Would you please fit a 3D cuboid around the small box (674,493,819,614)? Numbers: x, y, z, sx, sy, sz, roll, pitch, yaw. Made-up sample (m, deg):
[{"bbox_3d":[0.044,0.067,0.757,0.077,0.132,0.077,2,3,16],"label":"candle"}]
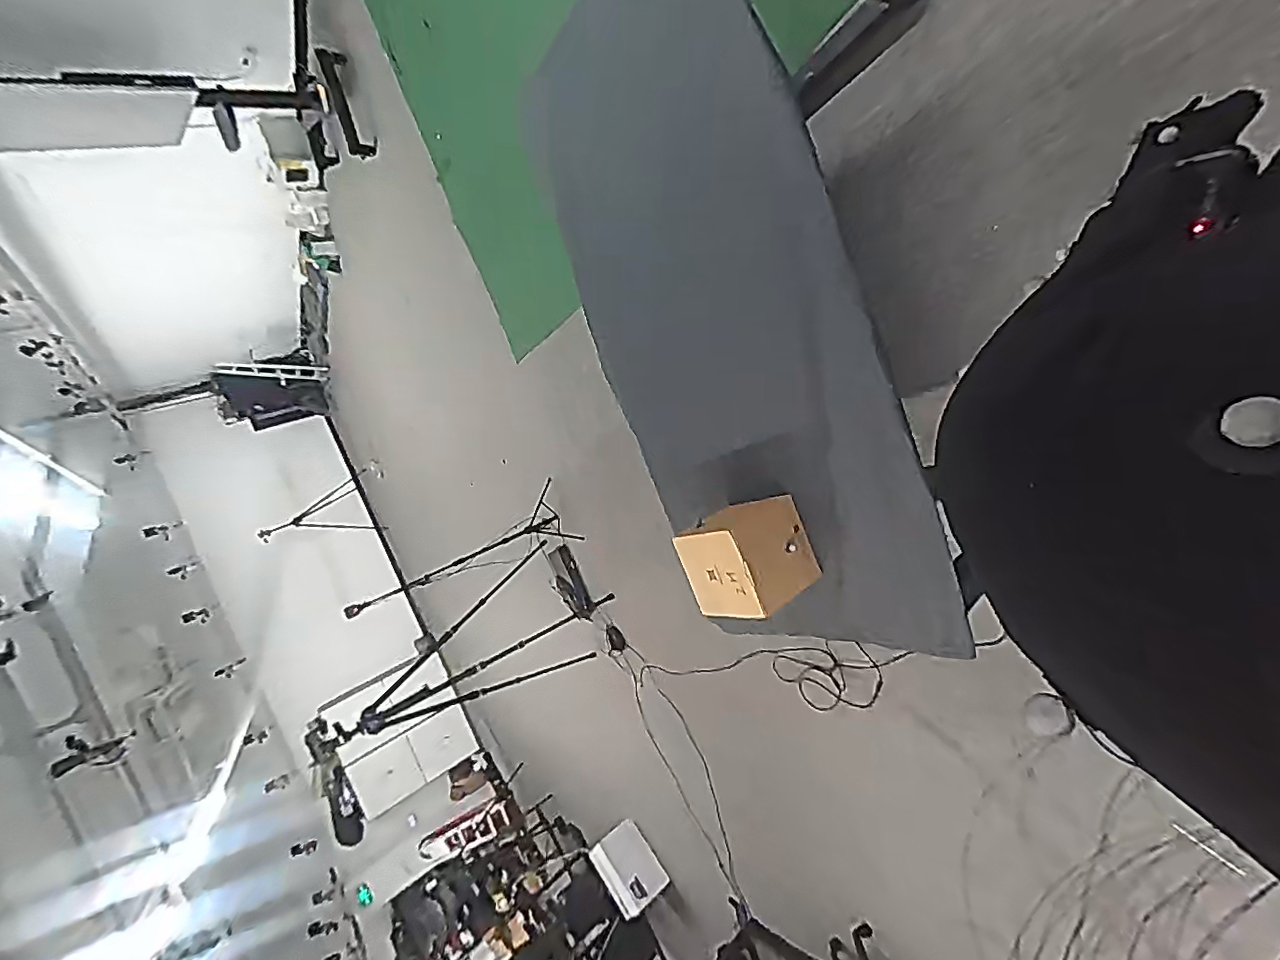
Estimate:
[{"bbox_3d":[0.200,0.137,1.019,0.179,0.176,0.168,-18,95,56],"label":"small box"}]
